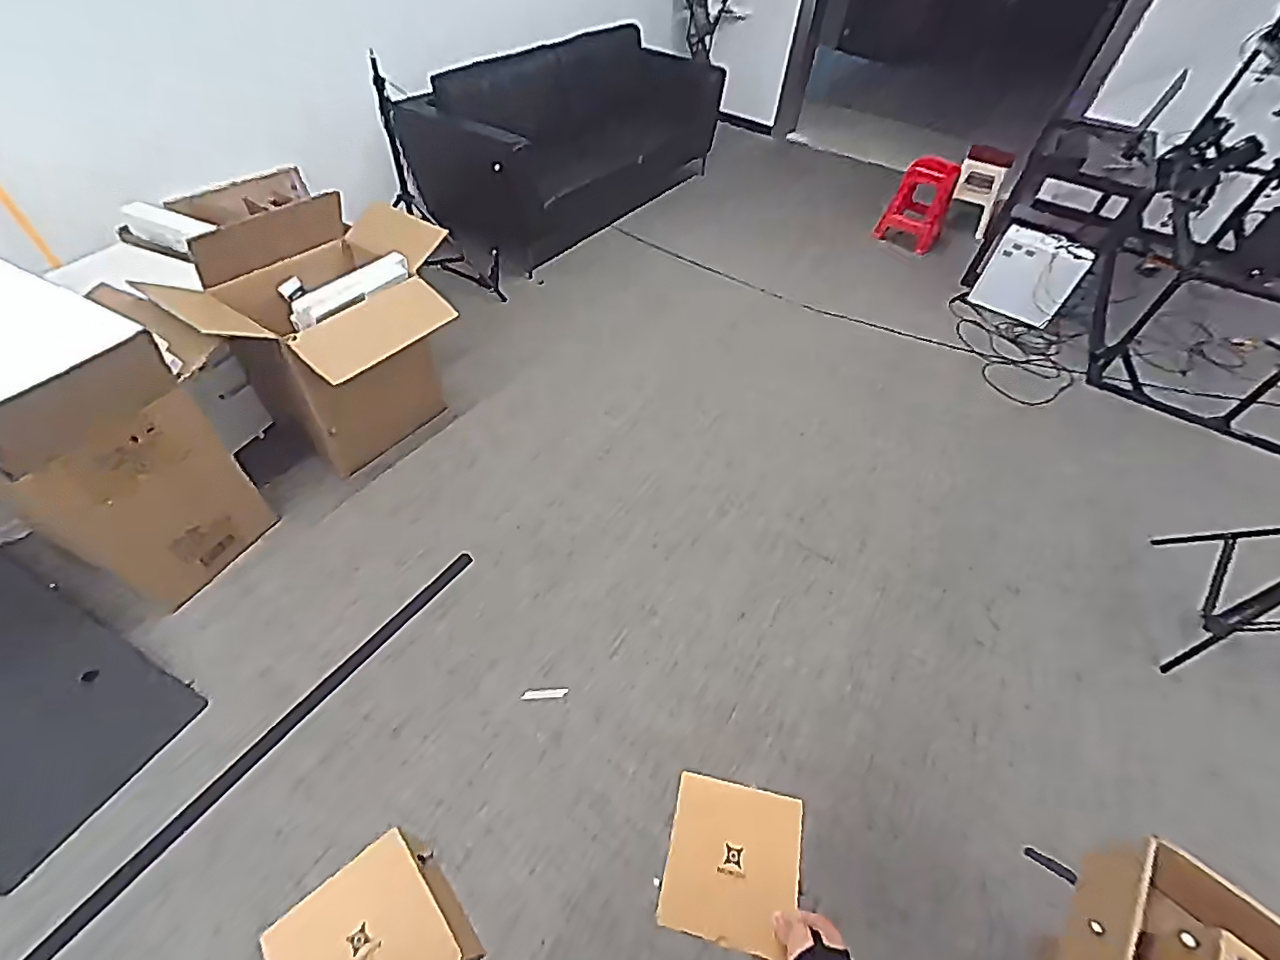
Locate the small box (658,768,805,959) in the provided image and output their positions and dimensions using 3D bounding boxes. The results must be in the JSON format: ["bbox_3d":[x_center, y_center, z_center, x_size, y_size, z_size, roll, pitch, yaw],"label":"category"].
[{"bbox_3d":[0.127,0.526,0.748,0.168,0.176,0.179,8,55,13],"label":"small box"}]

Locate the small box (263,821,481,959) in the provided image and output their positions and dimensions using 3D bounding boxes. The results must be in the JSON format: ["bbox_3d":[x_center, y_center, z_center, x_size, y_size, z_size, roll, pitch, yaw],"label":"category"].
[{"bbox_3d":[-0.320,0.574,0.673,0.168,0.176,0.179,-32,60,-27],"label":"small box"}]
